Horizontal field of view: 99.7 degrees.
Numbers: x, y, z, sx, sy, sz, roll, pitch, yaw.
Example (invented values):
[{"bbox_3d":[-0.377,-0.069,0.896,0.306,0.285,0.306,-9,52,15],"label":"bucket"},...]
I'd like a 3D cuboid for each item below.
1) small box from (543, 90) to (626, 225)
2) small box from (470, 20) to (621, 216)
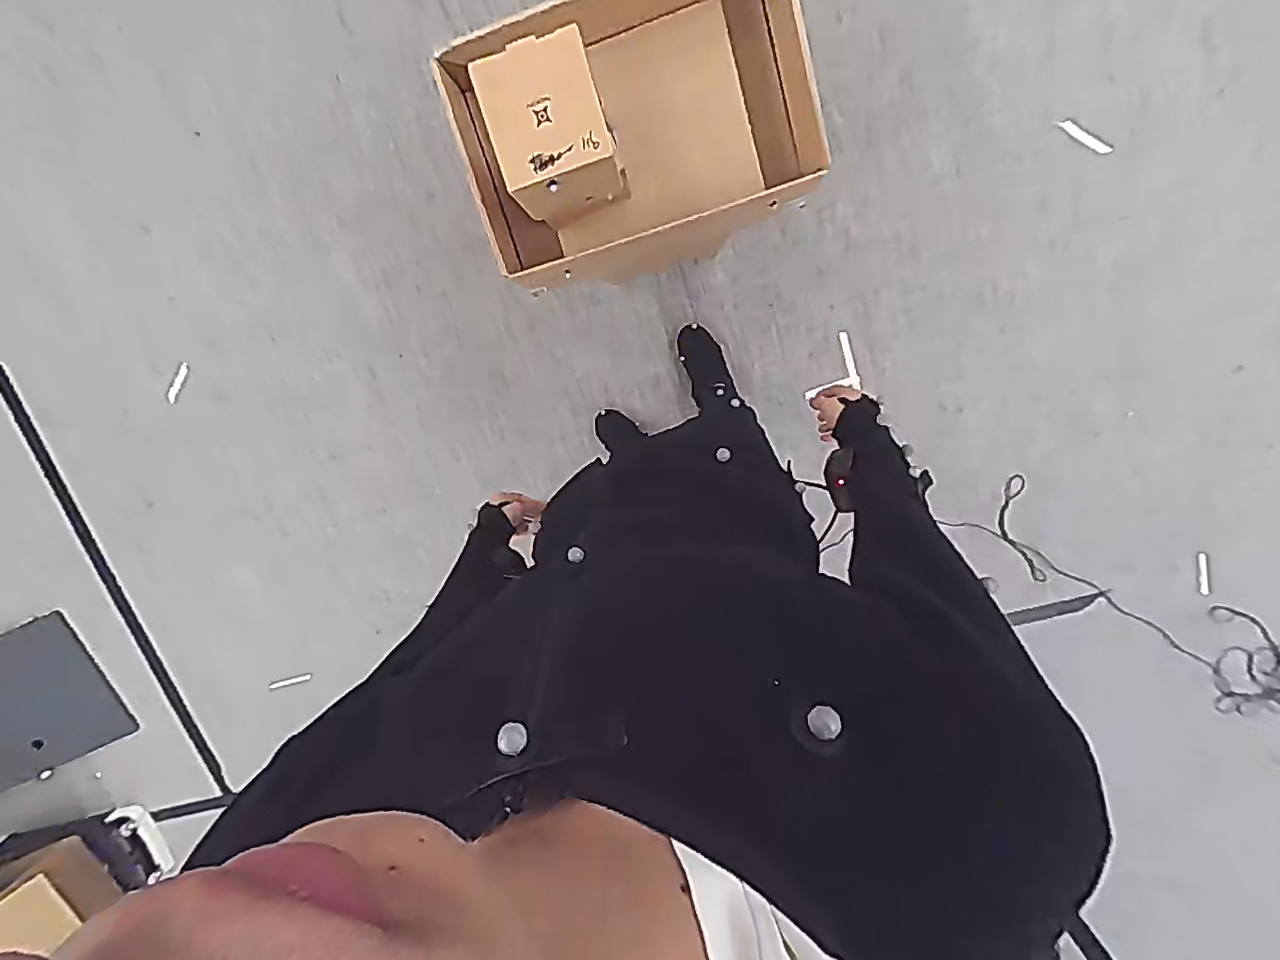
[{"bbox_3d":[-0.132,-0.597,0.993,0.179,0.176,0.168,-21,100,8],"label":"small box"},{"bbox_3d":[-0.135,-0.542,0.838,0.168,0.176,0.179,-16,101,6],"label":"small box"}]
